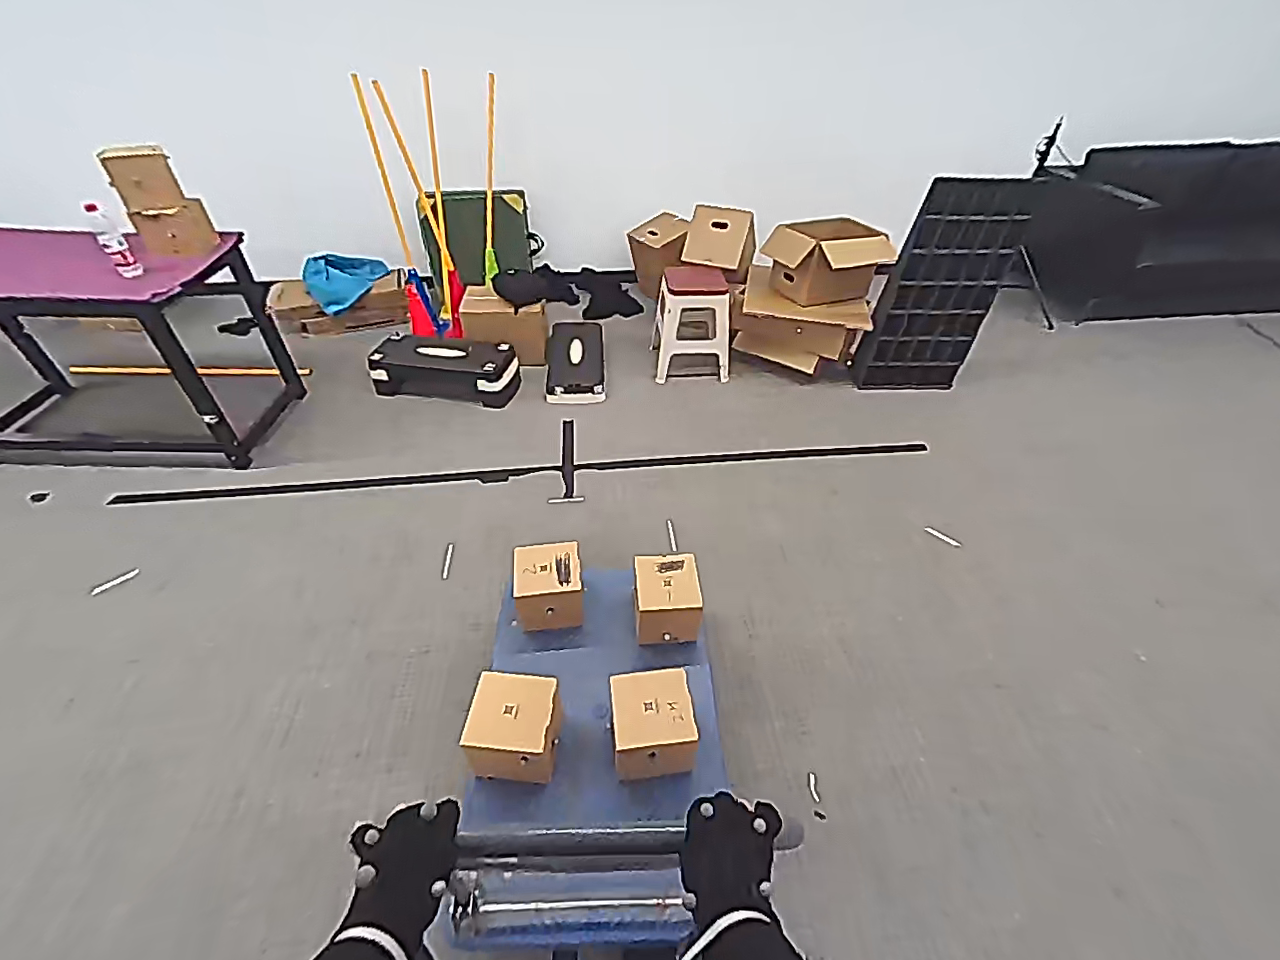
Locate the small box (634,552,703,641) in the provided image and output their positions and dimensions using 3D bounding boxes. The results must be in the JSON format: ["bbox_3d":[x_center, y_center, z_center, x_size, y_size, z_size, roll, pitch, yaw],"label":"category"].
[{"bbox_3d":[0.071,0.316,1.470,0.168,0.176,0.179,-2,44,-4],"label":"small box"}]

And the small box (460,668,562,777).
[{"bbox_3d":[-0.279,0.546,1.212,0.179,0.176,0.168,5,42,2],"label":"small box"}]

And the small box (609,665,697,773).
[{"bbox_3d":[0.025,0.543,1.222,0.179,0.176,0.168,-4,43,-6],"label":"small box"}]
